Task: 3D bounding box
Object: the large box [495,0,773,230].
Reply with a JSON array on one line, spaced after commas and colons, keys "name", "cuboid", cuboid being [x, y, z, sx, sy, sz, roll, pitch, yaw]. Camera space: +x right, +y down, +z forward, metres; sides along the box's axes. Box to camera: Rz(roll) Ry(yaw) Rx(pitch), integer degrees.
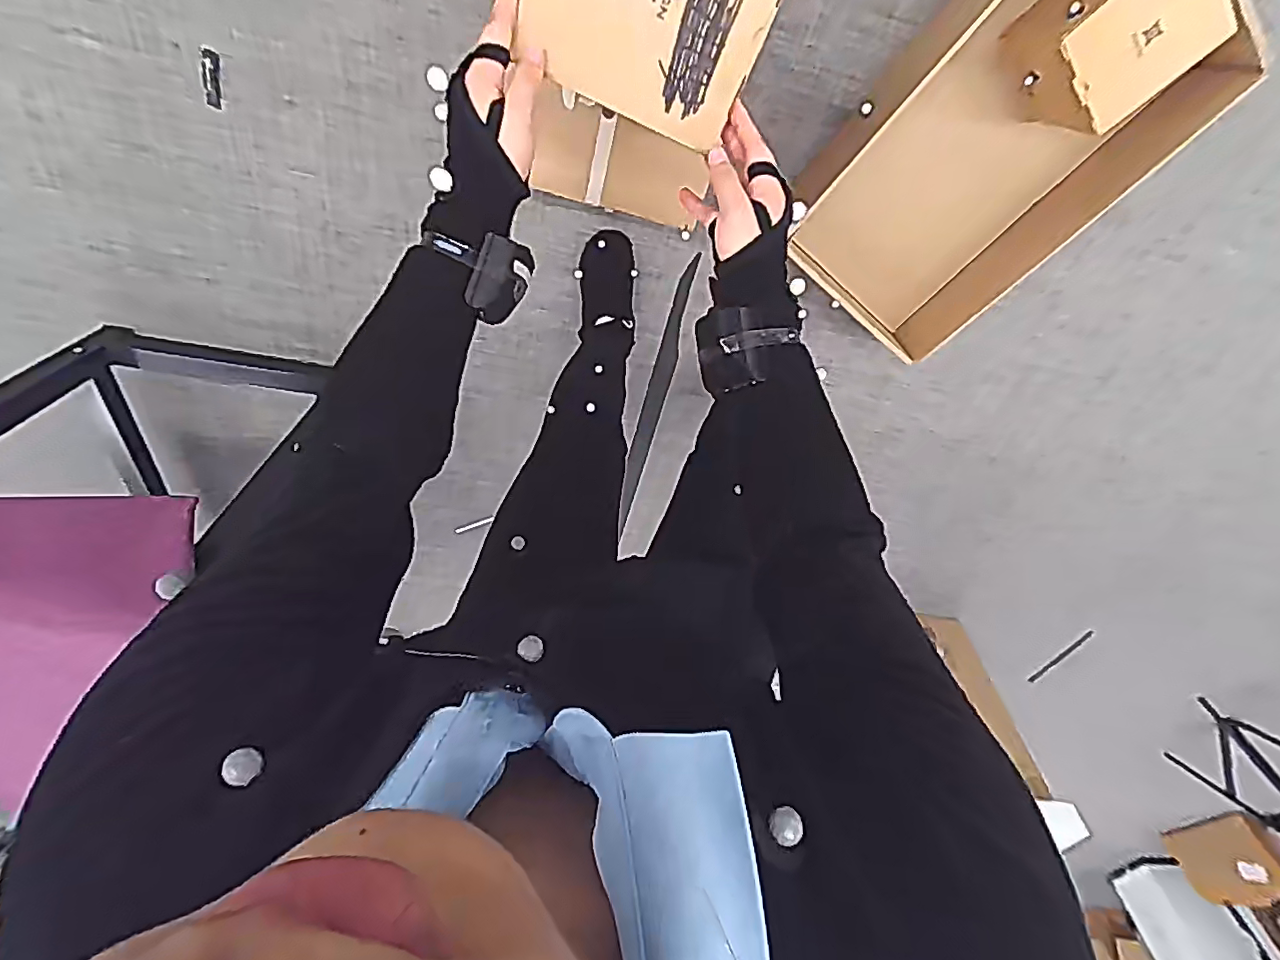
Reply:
[{"name": "large box", "cuboid": [-0.010, -0.644, 0.772, 0.320, 0.320, 0.408, 12, 130, -9]}]
